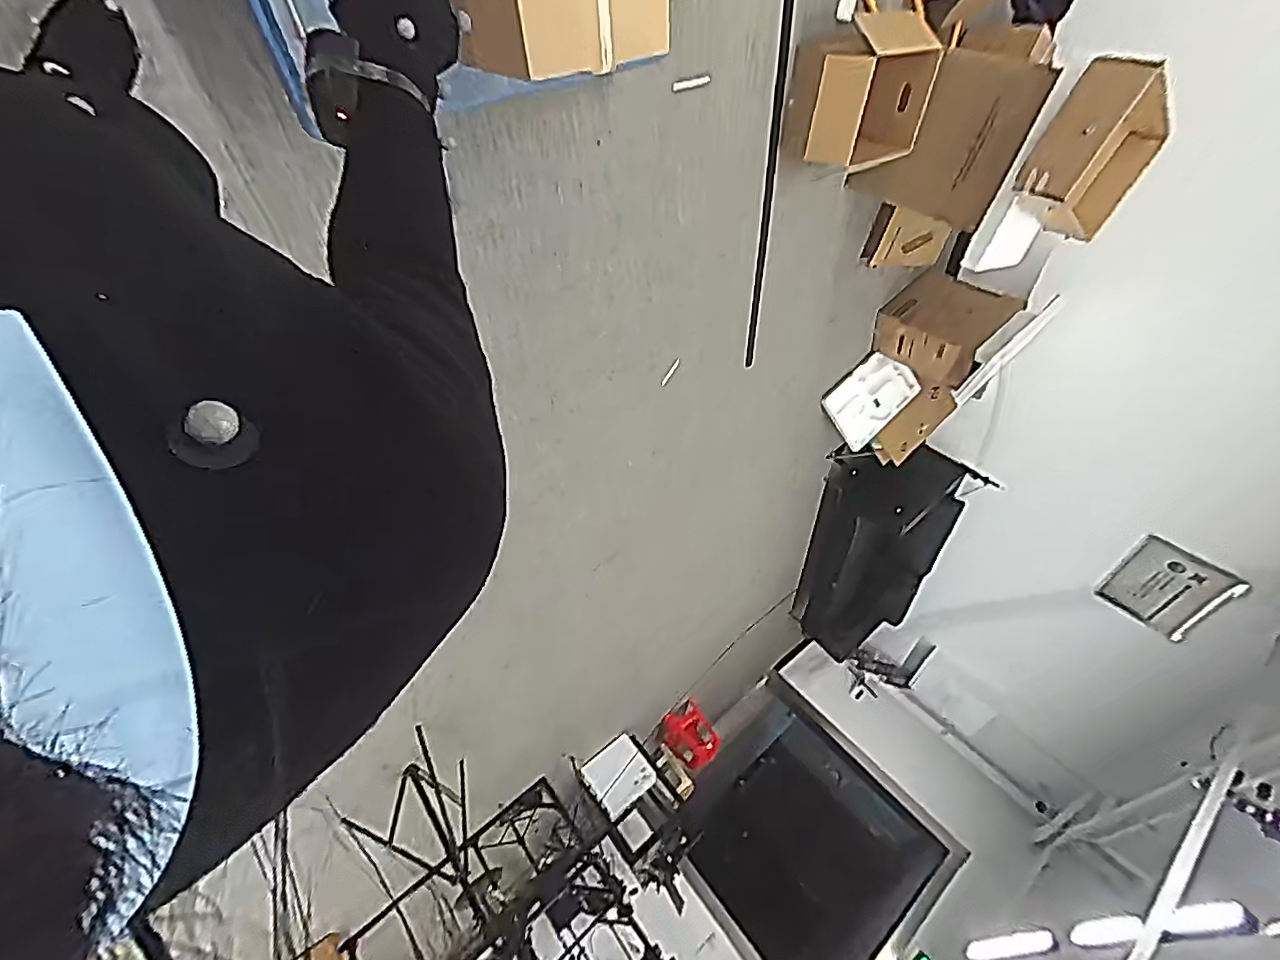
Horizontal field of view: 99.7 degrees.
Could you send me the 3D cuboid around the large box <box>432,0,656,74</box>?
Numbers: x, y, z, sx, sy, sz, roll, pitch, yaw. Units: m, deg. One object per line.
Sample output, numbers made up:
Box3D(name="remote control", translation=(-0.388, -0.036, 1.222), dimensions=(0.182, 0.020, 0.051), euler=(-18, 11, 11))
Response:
Box3D(name="large box", translation=(-0.193, -0.979, 0.925), dimensions=(0.320, 0.320, 0.408), euler=(-32, 142, -25))
